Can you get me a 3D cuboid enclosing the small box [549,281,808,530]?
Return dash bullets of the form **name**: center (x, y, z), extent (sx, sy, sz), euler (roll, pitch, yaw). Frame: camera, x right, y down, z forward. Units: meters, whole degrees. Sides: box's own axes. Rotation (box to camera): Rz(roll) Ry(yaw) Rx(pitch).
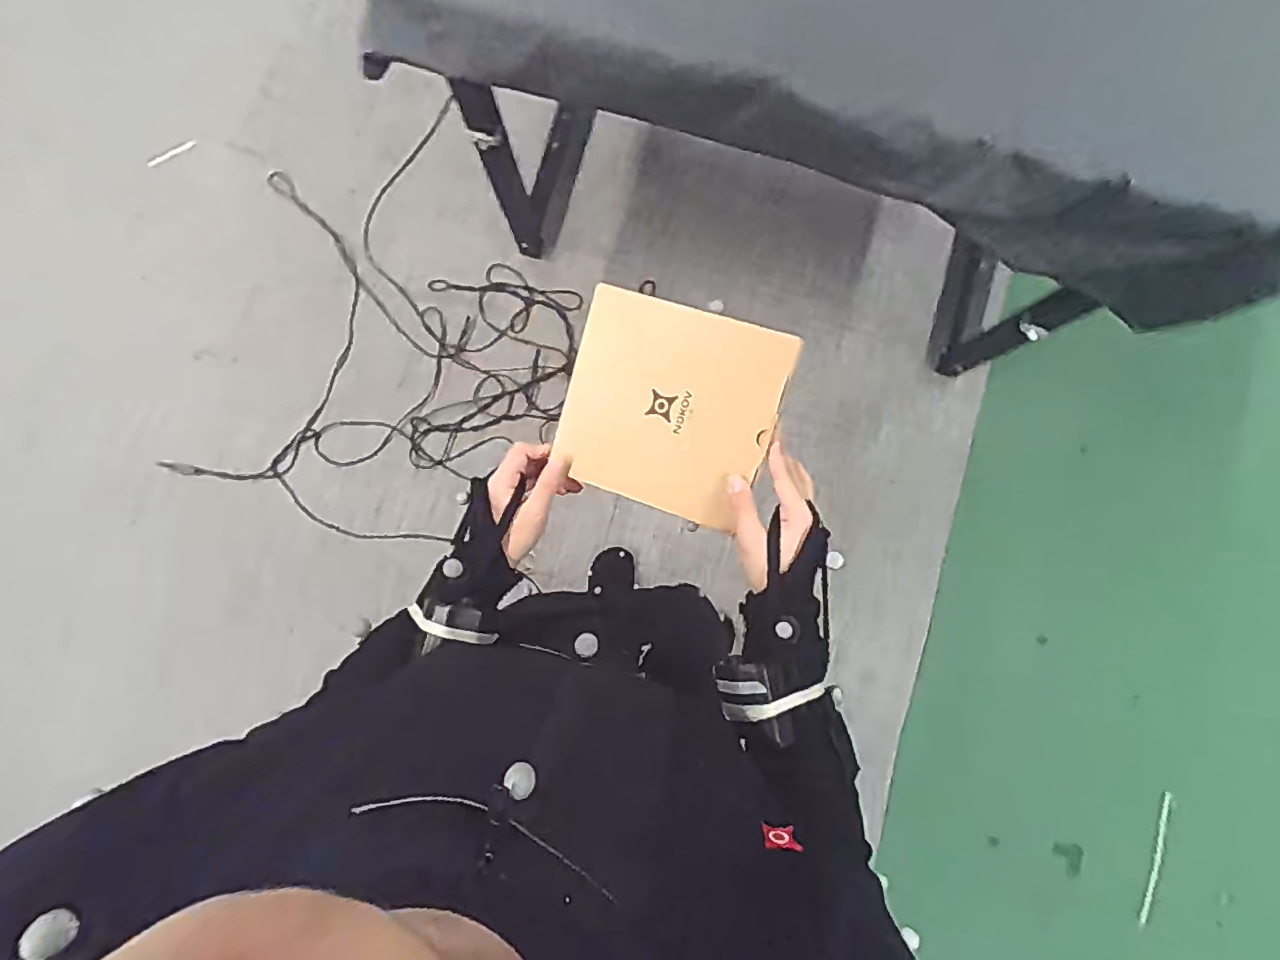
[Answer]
- **small box**: center (0.043, -0.067, 0.517), extent (0.179, 0.176, 0.168), euler (20, 99, 11)
